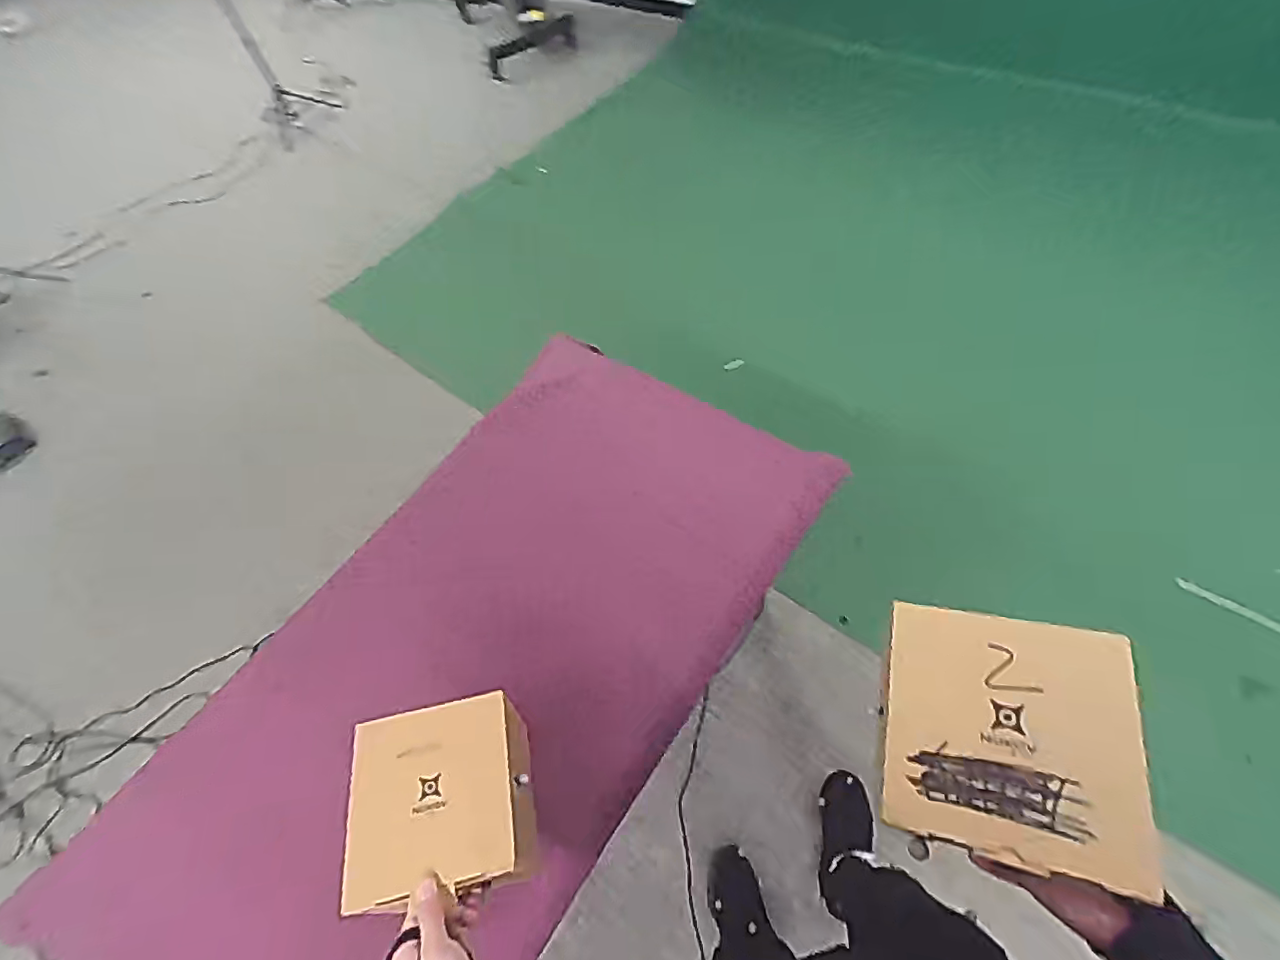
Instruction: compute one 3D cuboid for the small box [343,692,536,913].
[{"bbox_3d":[-0.220,0.374,0.632,0.168,0.176,0.179,-10,53,-8],"label":"small box"}]
